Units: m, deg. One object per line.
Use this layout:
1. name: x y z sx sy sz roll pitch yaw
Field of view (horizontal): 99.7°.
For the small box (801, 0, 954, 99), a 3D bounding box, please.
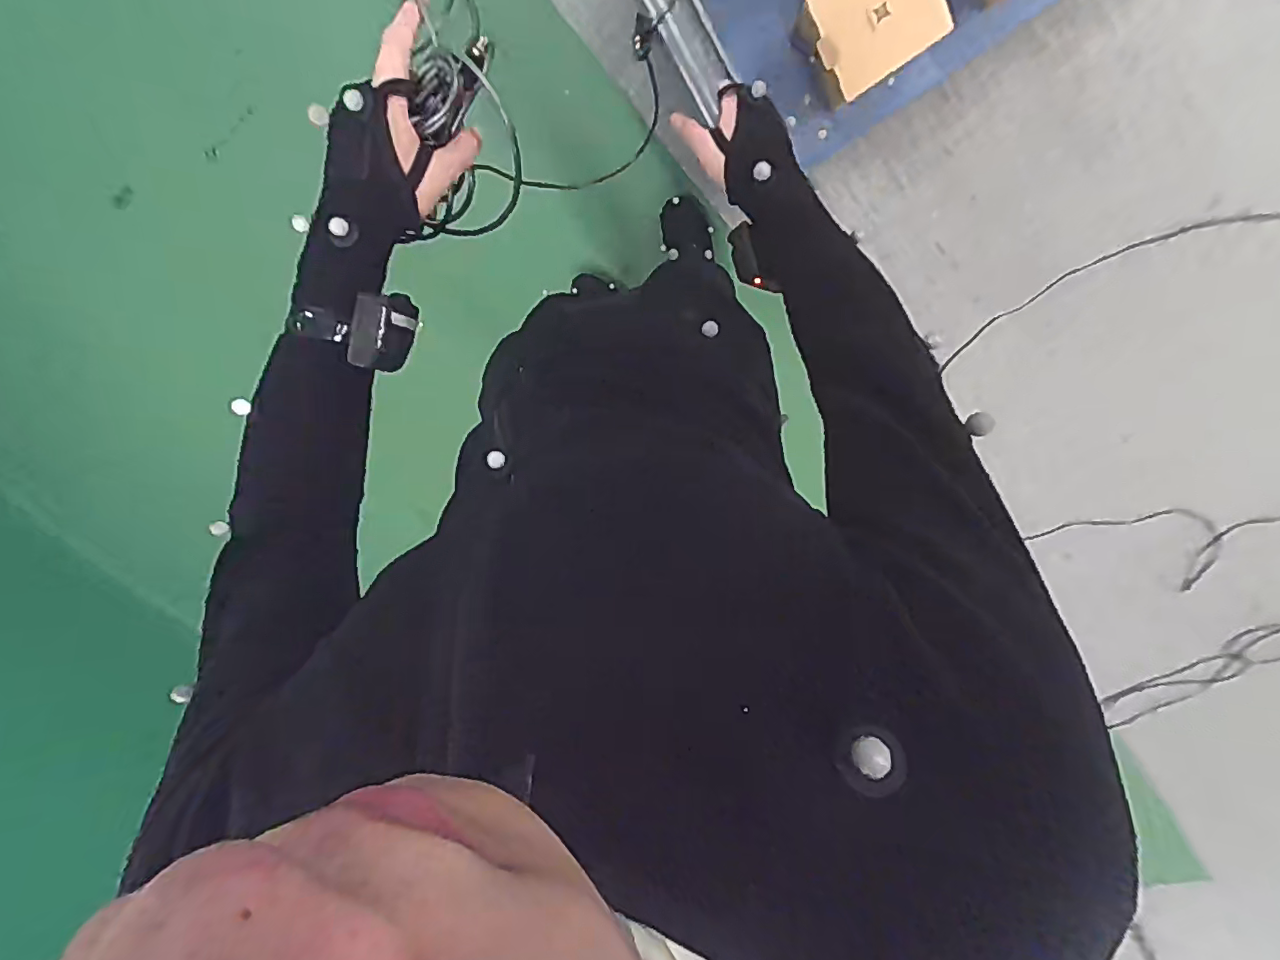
1. small box: 0.387 -0.780 0.907 0.179 0.176 0.168 -25 113 26
